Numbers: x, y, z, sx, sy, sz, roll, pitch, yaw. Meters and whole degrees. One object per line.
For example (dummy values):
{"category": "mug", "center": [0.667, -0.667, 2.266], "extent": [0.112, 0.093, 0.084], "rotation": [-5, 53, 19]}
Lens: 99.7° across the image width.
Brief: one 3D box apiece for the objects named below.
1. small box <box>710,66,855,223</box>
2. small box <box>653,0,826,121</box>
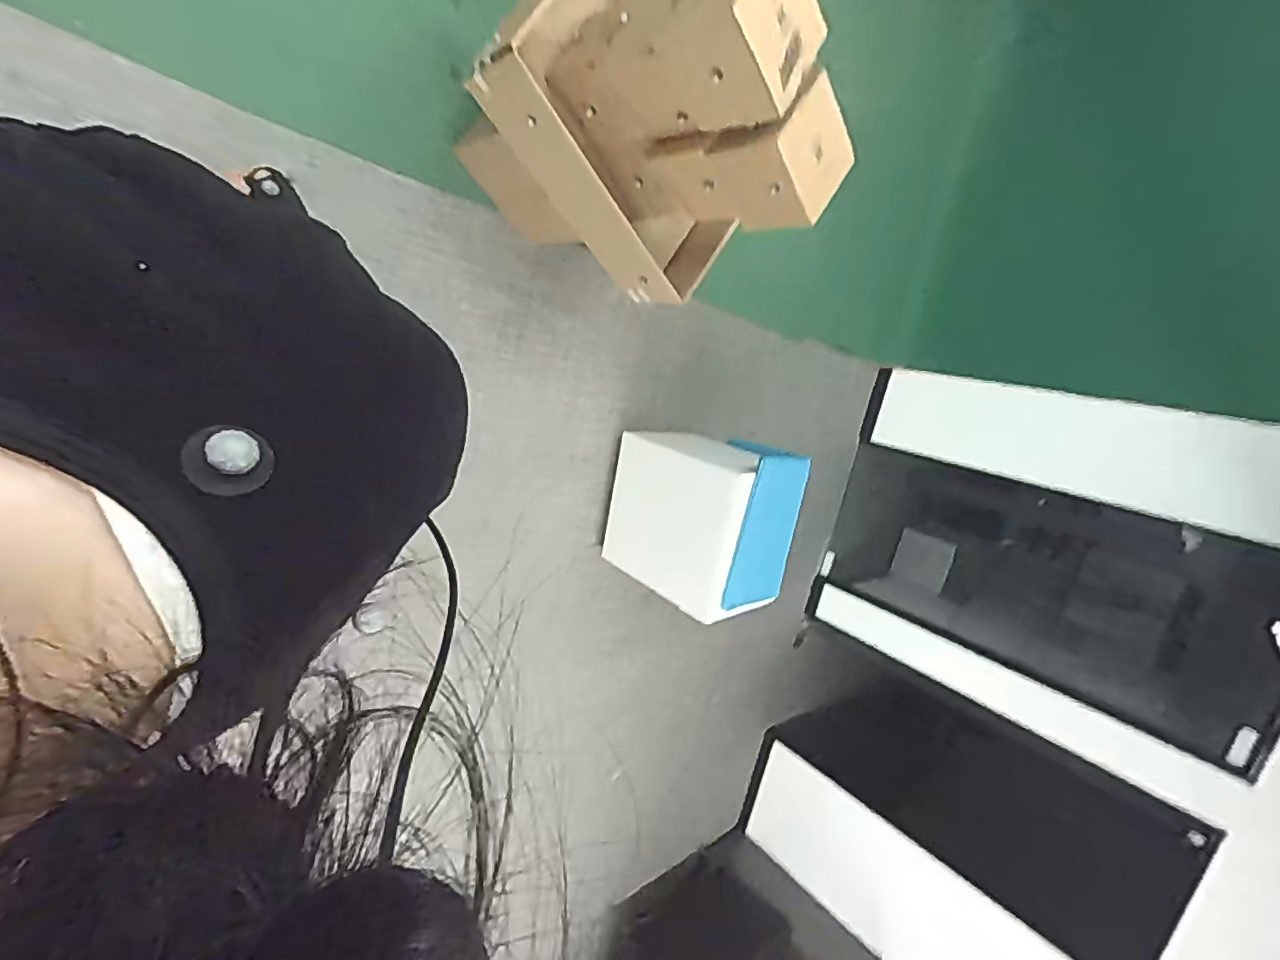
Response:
{"category": "small box", "center": [0.258, -0.597, 0.992], "extent": [0.179, 0.176, 0.168], "rotation": [41, 78, -42]}
{"category": "small box", "center": [0.154, -0.698, 0.842], "extent": [0.179, 0.176, 0.168], "rotation": [32, 83, -46]}
